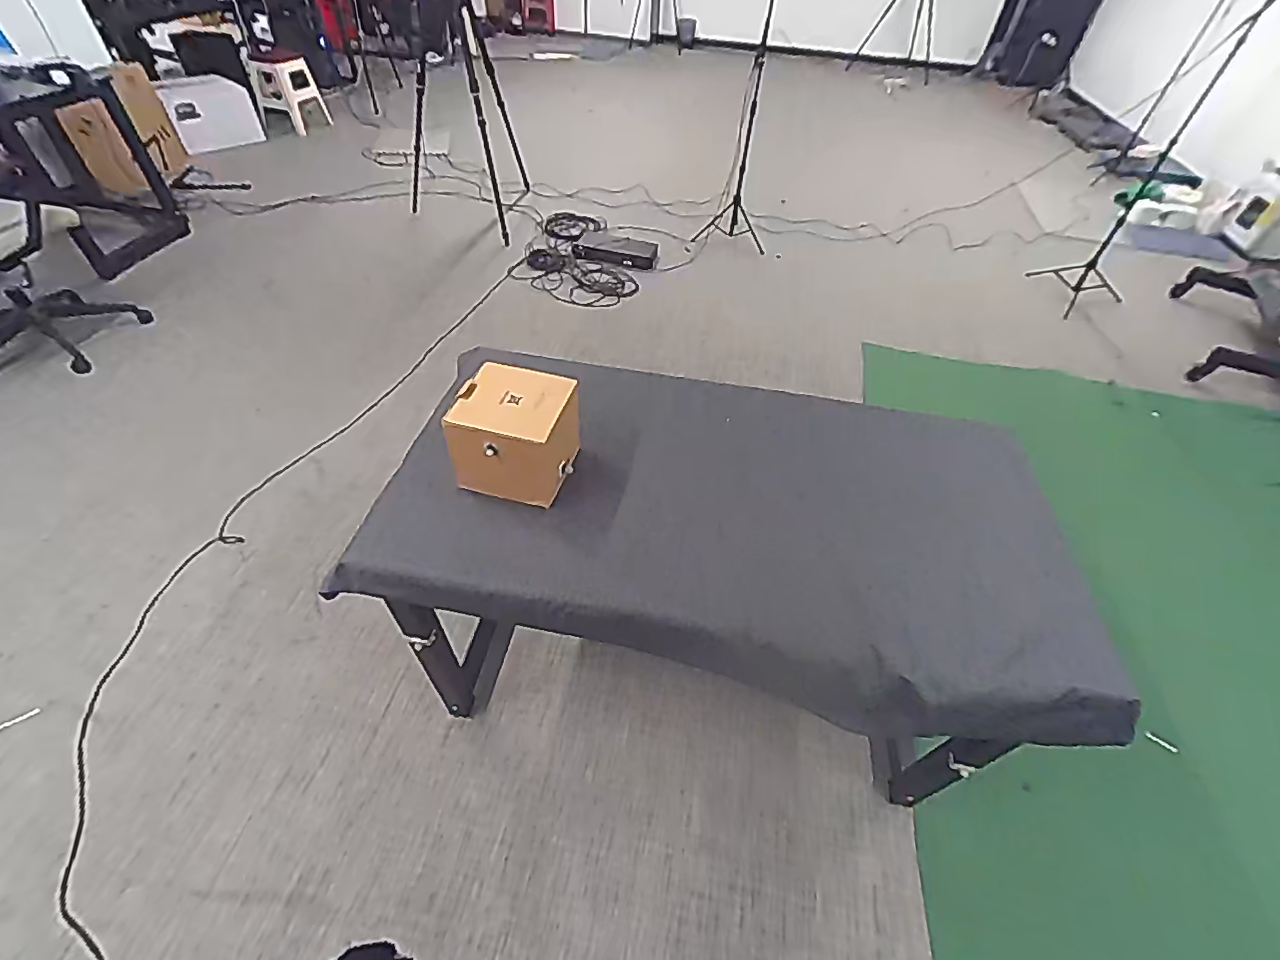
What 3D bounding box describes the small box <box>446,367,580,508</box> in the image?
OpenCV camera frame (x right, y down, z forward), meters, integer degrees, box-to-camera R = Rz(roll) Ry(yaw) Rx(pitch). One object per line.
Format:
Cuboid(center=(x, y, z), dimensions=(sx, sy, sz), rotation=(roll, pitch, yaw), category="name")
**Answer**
Cuboid(center=(-0.213, -0.072, 0.959), dimensions=(0.179, 0.176, 0.168), rotation=(13, 49, 6), category="small box")
